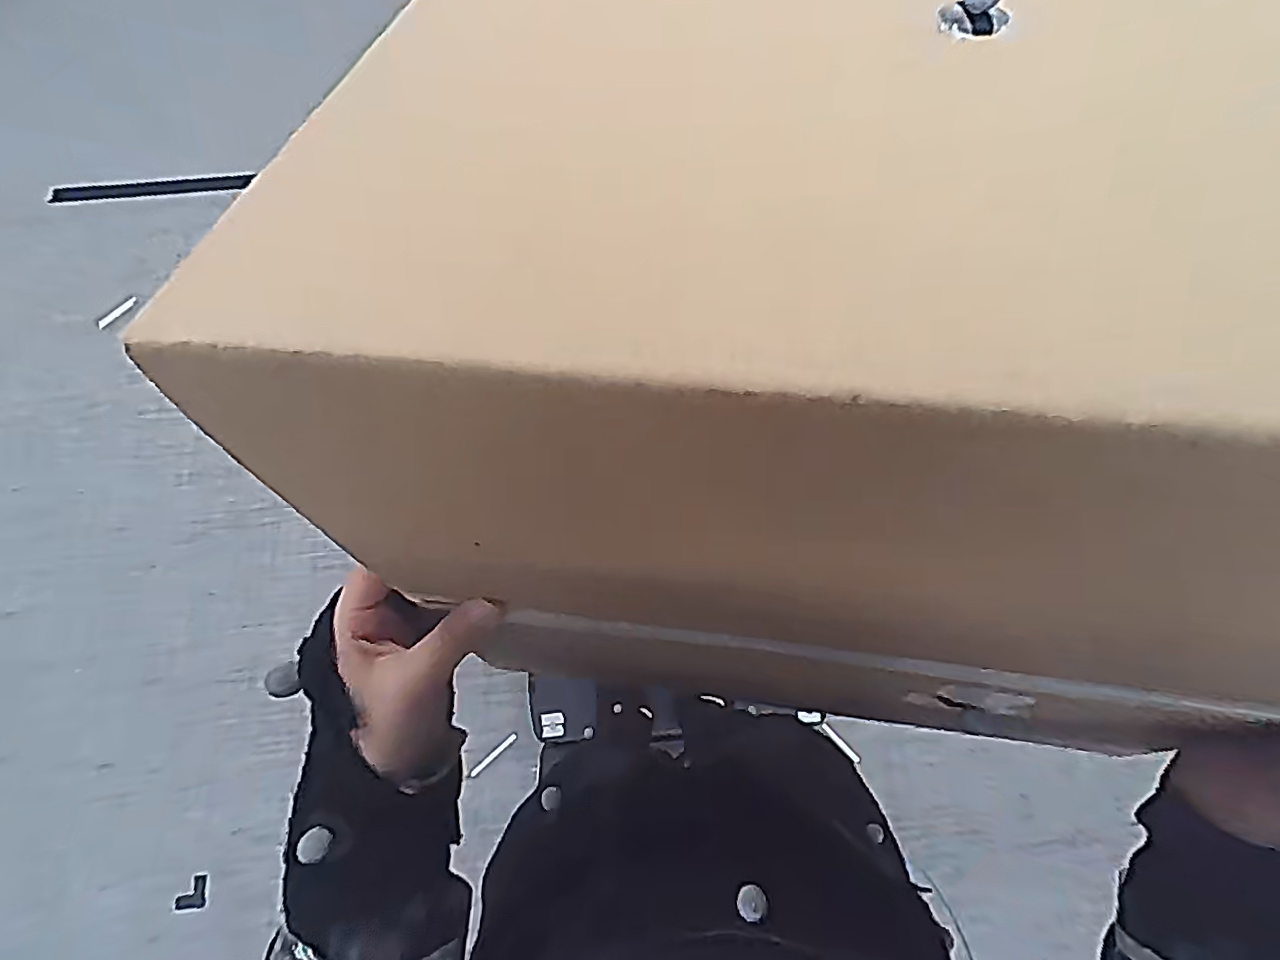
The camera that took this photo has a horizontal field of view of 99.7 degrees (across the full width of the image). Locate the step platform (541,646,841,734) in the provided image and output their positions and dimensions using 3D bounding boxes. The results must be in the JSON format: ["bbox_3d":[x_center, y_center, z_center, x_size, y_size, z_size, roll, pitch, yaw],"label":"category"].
[{"bbox_3d":[0.113,0.423,1.274,0.684,0.204,0.286,2,78,-1],"label":"step platform"}]
